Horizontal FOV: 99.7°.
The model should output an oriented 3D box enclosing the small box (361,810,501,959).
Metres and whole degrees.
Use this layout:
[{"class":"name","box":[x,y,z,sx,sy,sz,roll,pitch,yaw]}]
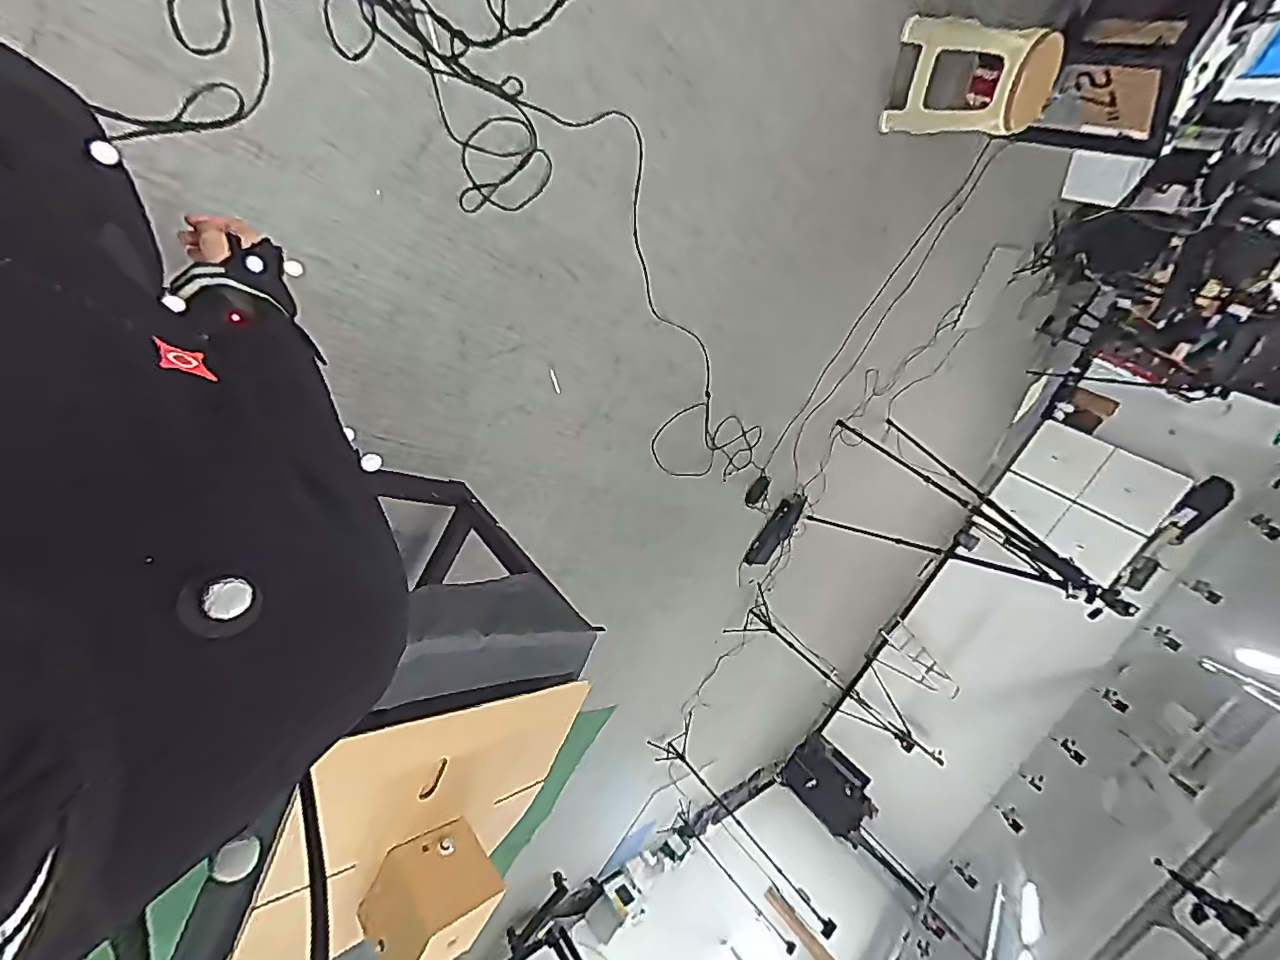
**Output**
[{"class":"small box","box":[-0.404,0.783,1.032,0.168,0.176,0.179,9,114,-55]}]
